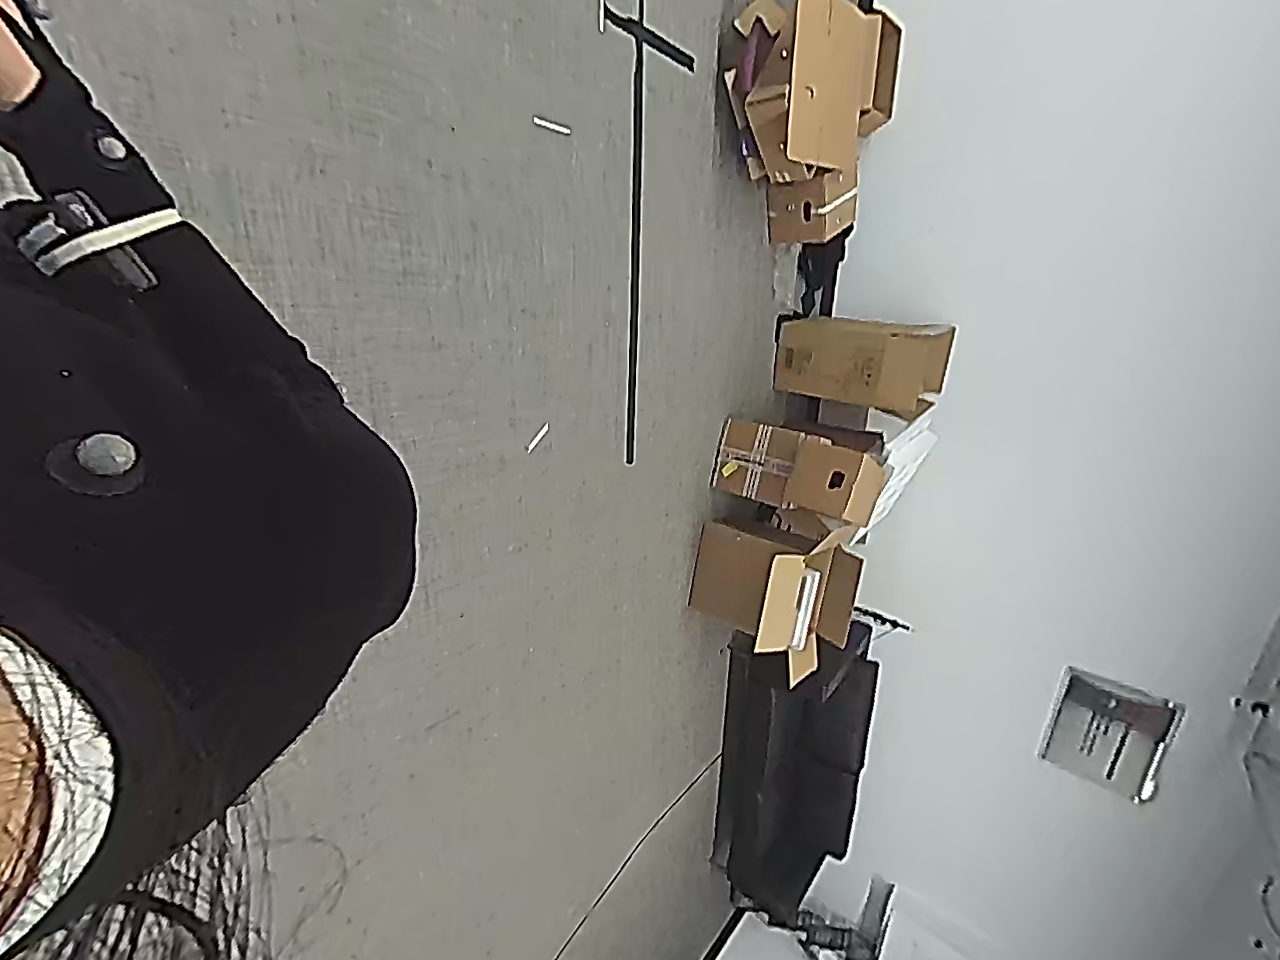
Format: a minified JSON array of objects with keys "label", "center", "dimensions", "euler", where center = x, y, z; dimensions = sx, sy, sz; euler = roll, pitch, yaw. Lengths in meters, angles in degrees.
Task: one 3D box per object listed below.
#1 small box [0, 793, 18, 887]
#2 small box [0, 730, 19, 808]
[{"label":"small box","center":[-1.008,0.492,0.742],"dimensions":[0.168,0.176,0.179],"euler":[-18,116,-49]},{"label":"small box","center":[-1.130,0.450,0.844],"dimensions":[0.179,0.176,0.168],"euler":[-17,116,-49]}]
